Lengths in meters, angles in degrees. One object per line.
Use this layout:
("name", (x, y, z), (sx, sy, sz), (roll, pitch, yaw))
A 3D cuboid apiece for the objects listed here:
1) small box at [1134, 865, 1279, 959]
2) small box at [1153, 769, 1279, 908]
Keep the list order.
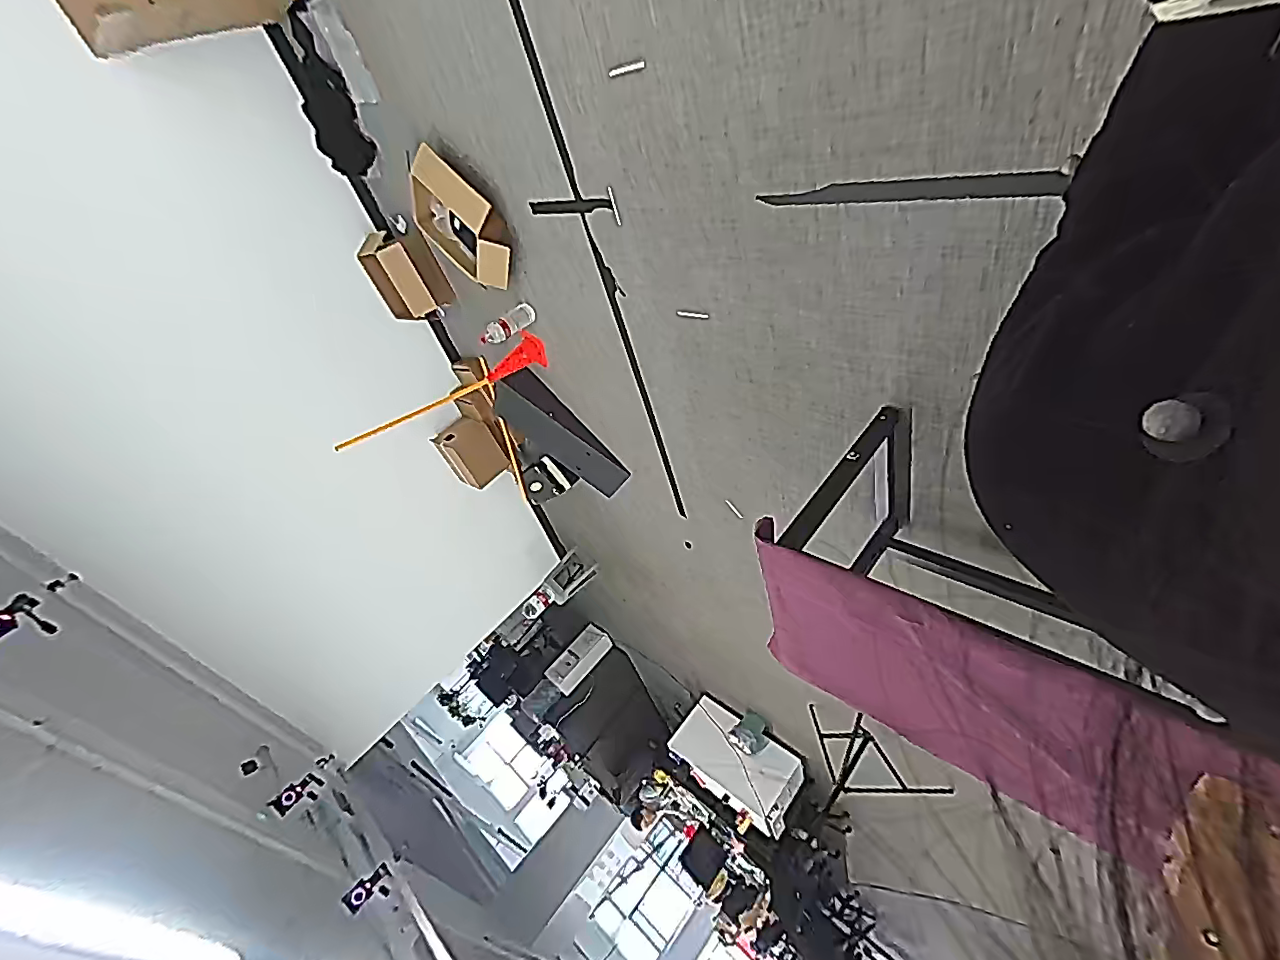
("small box", (0.892, 0.727, 0.819), (0.179, 0.176, 0.168), (18, 144, 42))
("small box", (0.995, 0.624, 0.892), (0.168, 0.176, 0.179), (19, 143, 42))
